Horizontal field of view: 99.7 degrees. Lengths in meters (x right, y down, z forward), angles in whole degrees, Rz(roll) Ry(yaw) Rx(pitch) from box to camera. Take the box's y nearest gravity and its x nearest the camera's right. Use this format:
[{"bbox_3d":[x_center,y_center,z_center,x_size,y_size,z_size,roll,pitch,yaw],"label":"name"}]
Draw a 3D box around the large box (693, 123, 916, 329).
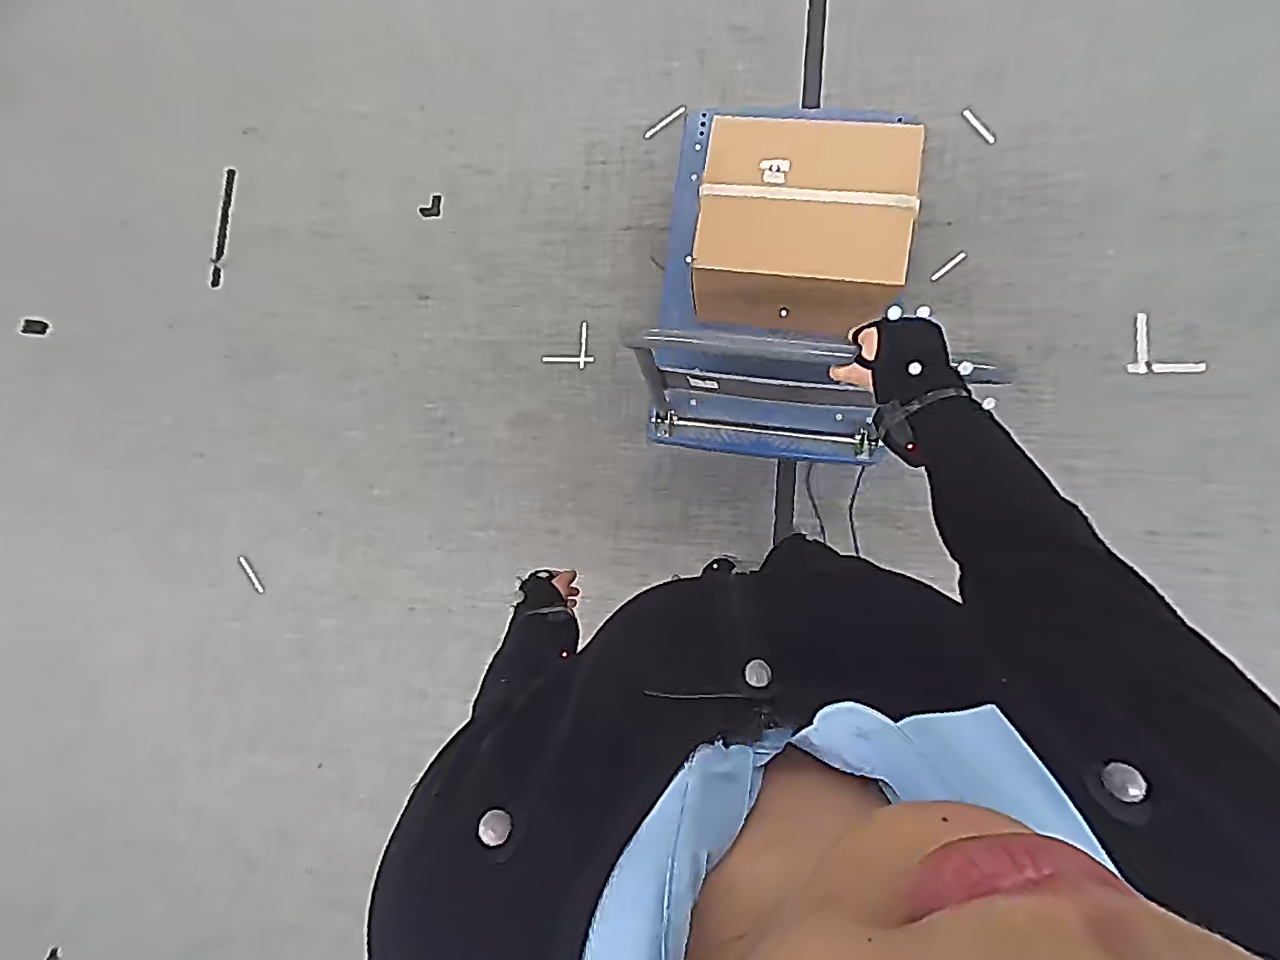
[{"bbox_3d":[0.344,-0.544,1.206,0.408,0.320,0.320,7,87,9],"label":"large box"}]
